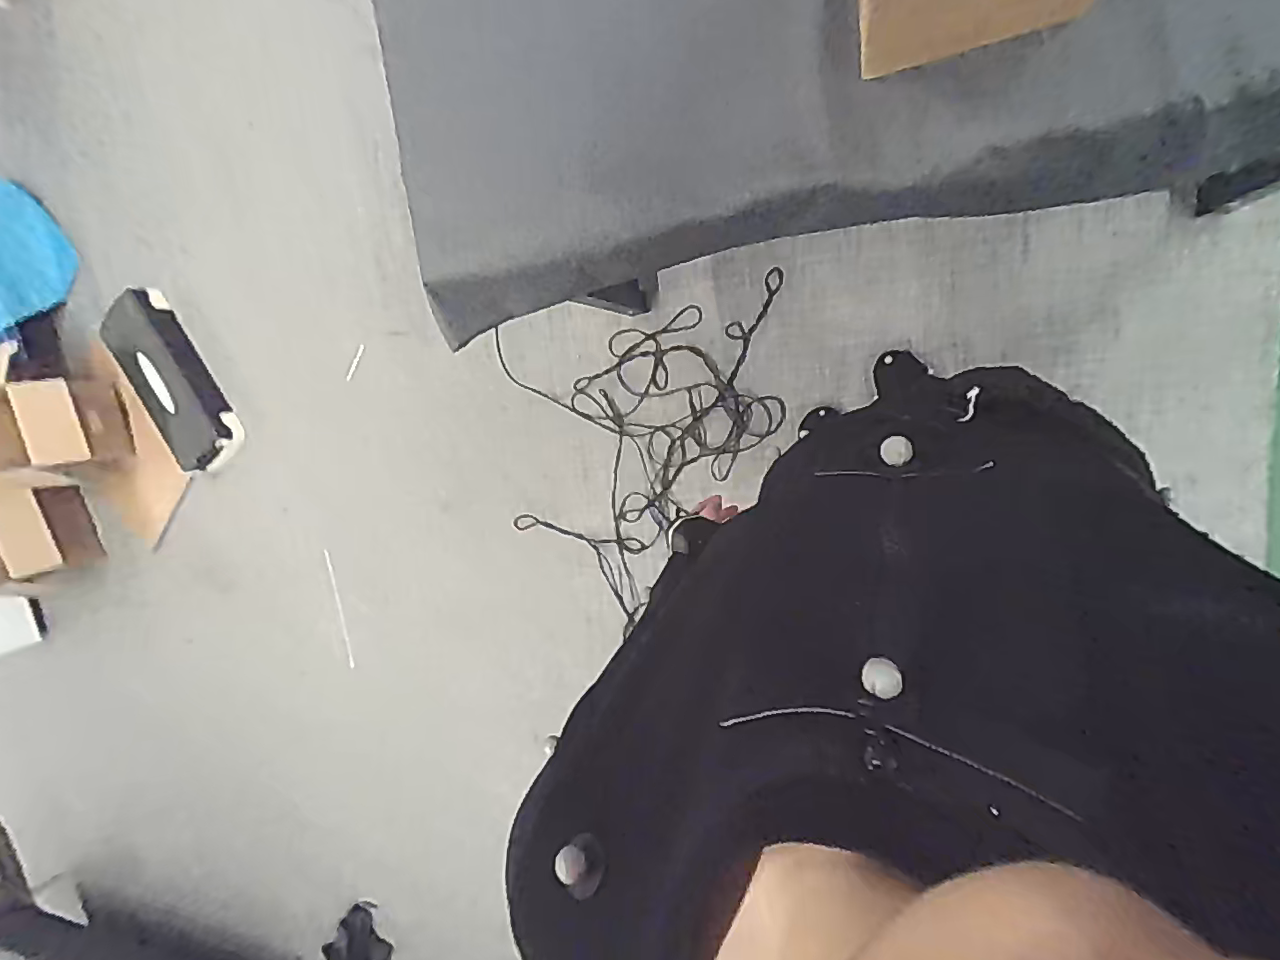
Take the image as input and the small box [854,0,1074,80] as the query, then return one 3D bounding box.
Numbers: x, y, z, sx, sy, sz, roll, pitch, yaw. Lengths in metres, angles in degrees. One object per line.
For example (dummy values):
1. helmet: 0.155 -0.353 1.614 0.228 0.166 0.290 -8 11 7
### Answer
1. small box: 0.256 -0.454 0.409 0.179 0.176 0.168 -4 97 23
